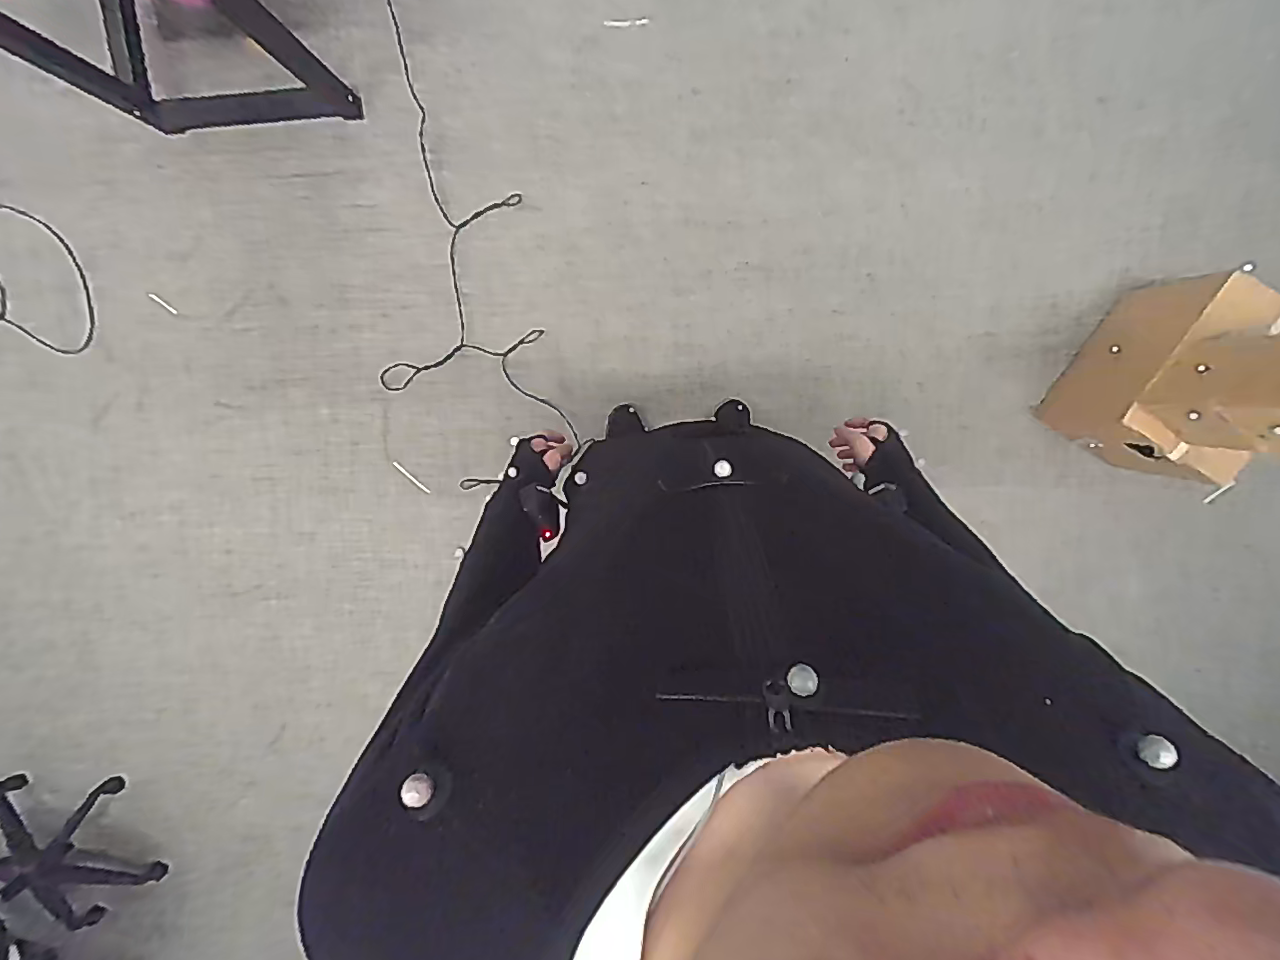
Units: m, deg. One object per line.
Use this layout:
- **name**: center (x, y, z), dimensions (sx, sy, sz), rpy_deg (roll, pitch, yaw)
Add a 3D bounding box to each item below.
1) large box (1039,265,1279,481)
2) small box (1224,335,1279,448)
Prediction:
- **large box**: center (1.358, -0.260, 1.384), dimensions (0.320, 0.320, 0.408), rpy_deg (30, 99, -4)
- **small box**: center (1.256, -0.161, 0.992), dimensions (0.168, 0.176, 0.179), rpy_deg (34, 99, -3)
